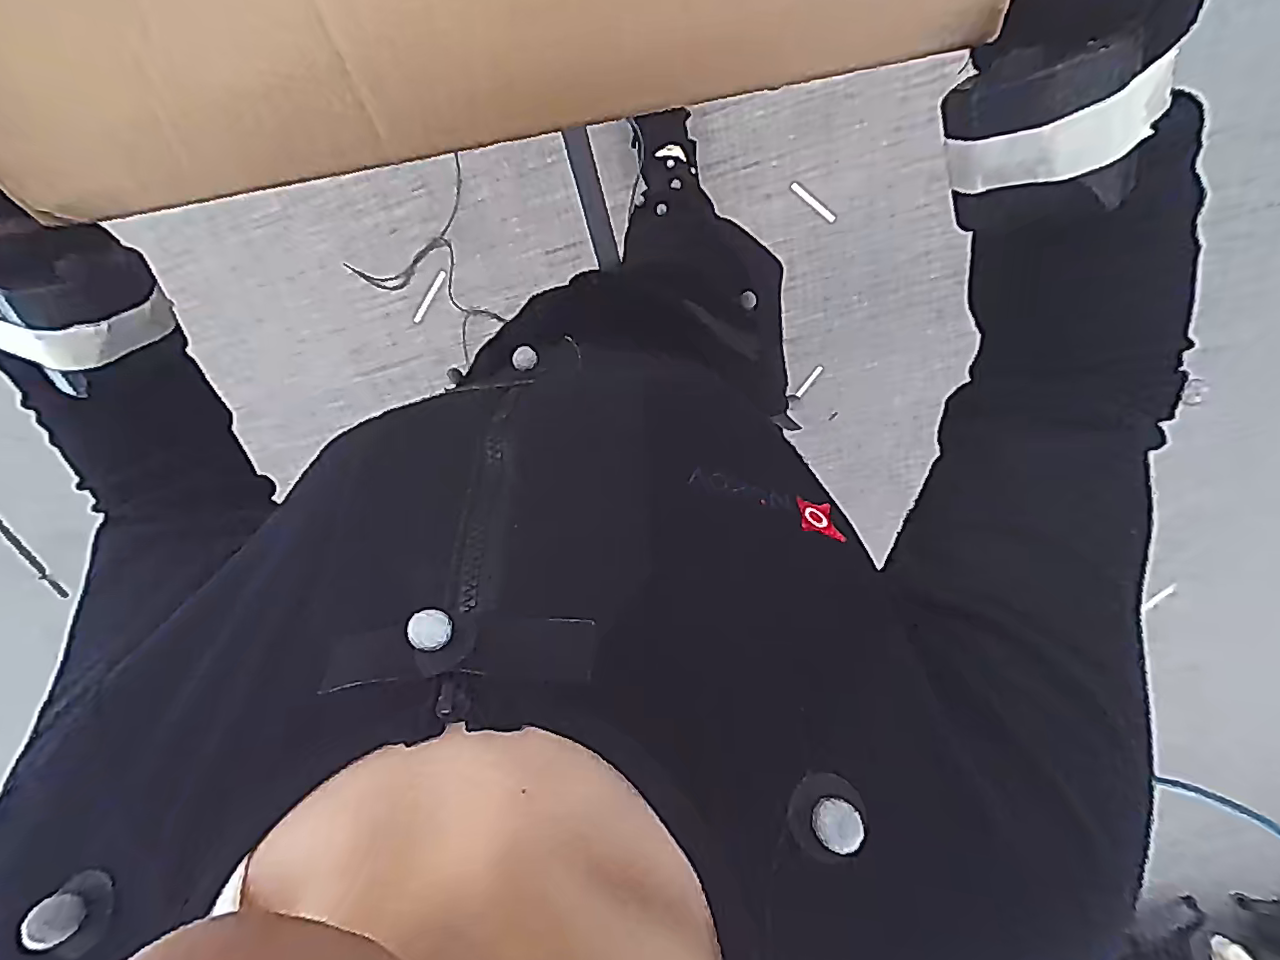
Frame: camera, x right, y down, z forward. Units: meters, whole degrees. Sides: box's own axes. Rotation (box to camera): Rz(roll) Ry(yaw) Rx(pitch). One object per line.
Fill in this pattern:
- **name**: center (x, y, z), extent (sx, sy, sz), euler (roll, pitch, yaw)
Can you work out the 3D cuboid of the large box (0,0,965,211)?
- **large box**: center (-0.097, -0.360, 0.207), extent (0.408, 0.320, 0.320), euler (-7, 139, 6)
